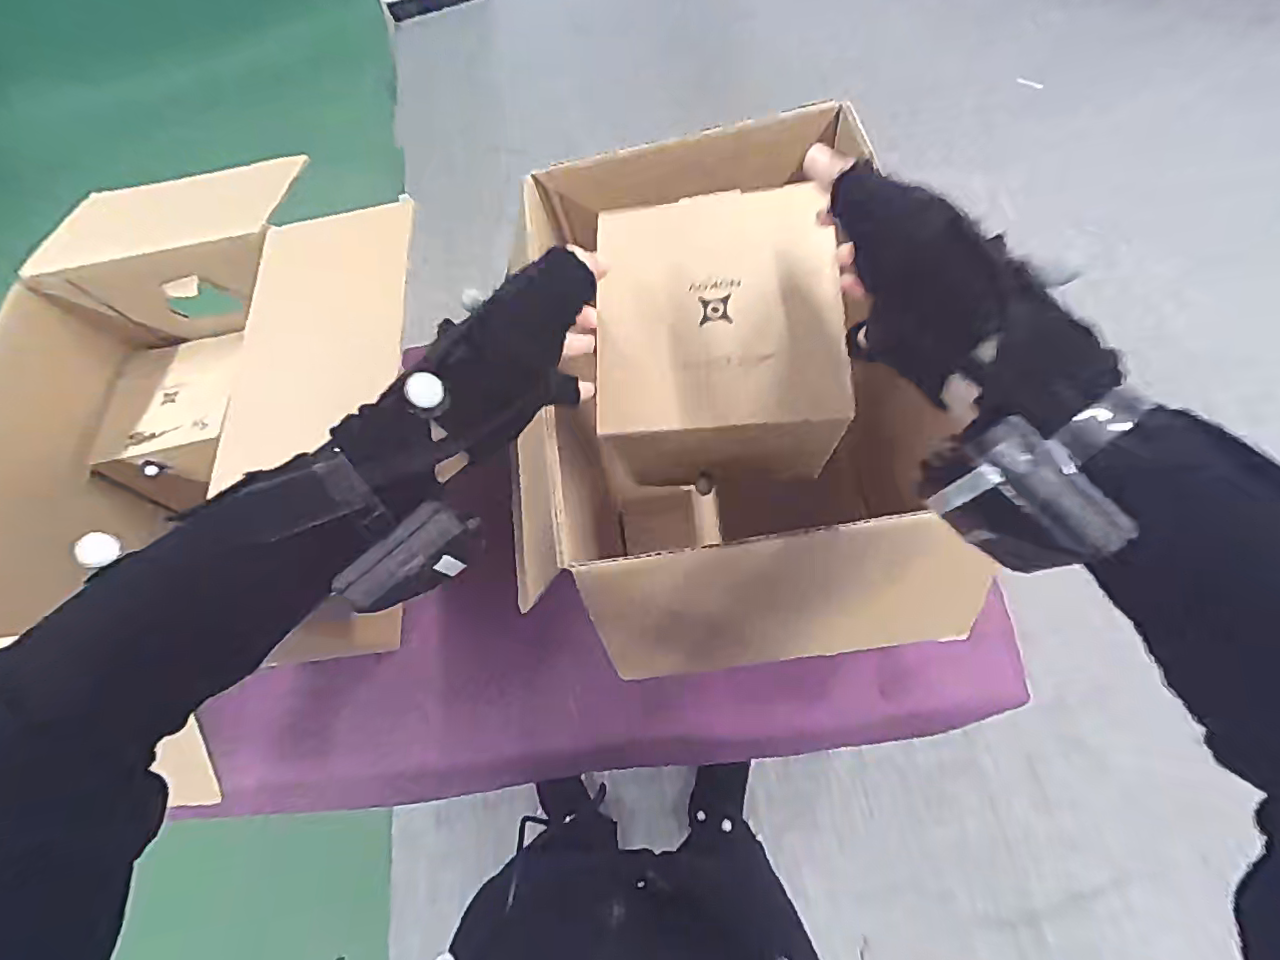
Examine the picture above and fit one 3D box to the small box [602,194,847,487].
[{"bbox_3d":[0.067,-0.101,0.459,0.168,0.176,0.179,-3,75,10],"label":"small box"}]
